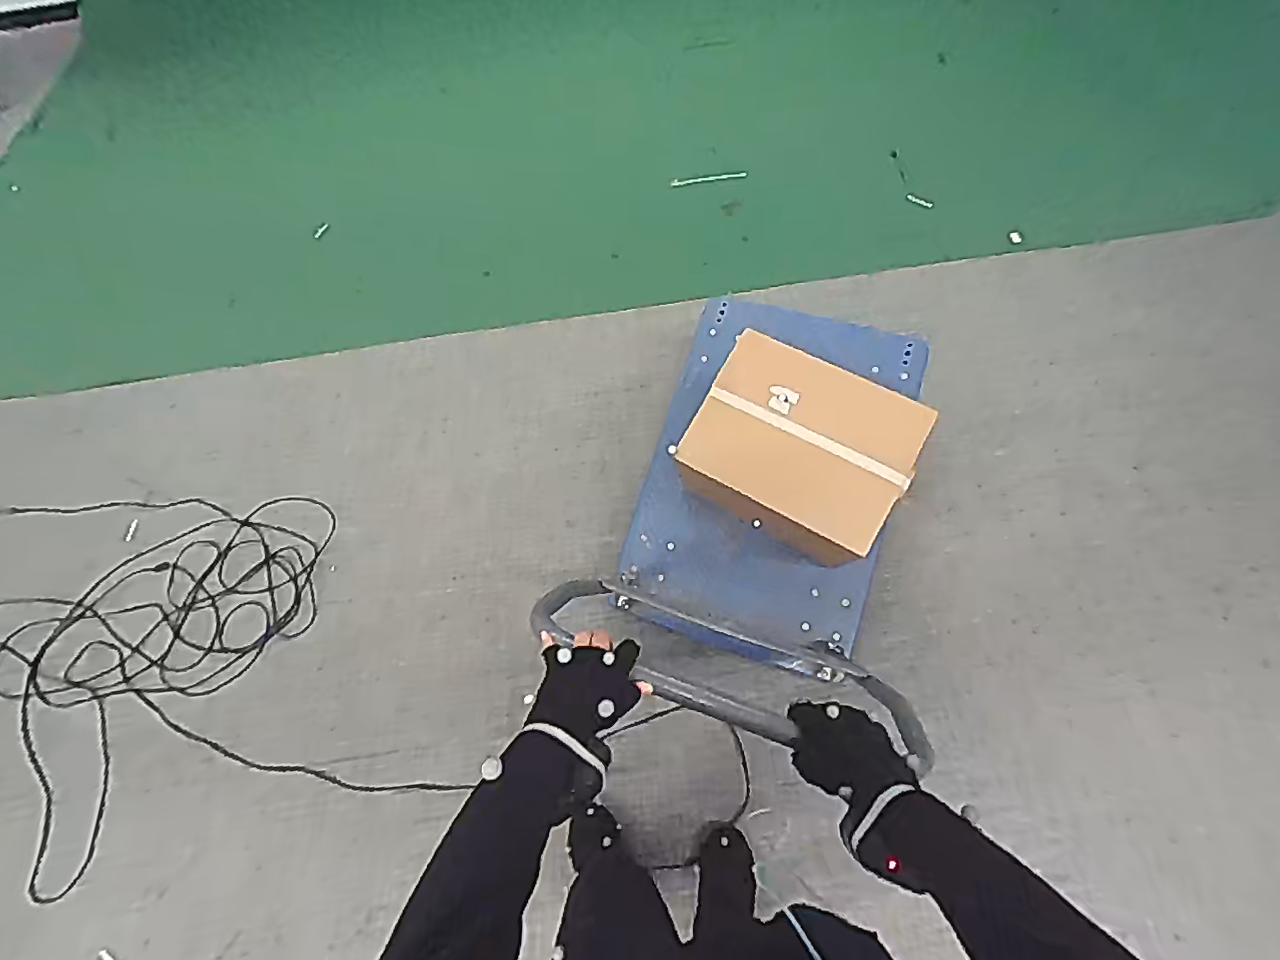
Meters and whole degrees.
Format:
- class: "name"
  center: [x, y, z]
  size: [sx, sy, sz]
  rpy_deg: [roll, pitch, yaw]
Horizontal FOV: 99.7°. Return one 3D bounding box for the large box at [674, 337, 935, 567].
- class: "large box"
  center: [0.336, -0.042, 1.180]
  size: [0.408, 0.320, 0.320]
  rpy_deg: [29, 83, 15]
